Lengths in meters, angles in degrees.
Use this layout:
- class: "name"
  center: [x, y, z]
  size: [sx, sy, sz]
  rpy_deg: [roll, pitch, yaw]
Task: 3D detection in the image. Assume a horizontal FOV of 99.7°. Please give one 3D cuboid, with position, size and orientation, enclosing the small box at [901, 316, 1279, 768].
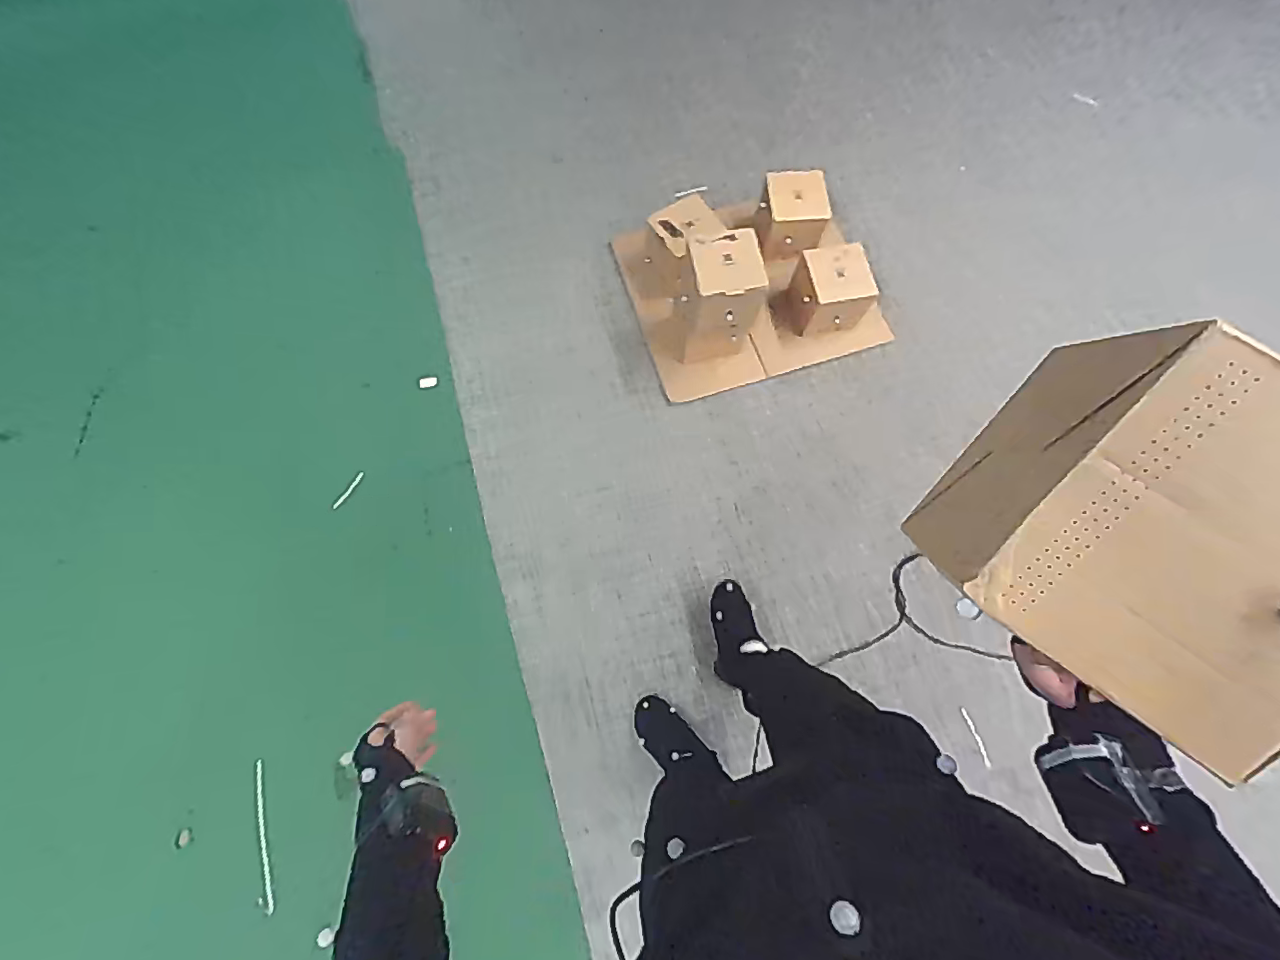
- class: "small box"
  center: [0.305, 0.022, 0.340]
  size: [0.176, 0.168, 0.179]
  rpy_deg: [38, 105, 8]

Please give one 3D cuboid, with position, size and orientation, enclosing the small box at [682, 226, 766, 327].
- class: "small box"
  center: [0.204, -0.500, 1.356]
  size: [0.168, 0.176, 0.179]
  rpy_deg: [-8, 73, -3]

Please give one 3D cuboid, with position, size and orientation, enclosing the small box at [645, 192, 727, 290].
- class: "small box"
  center: [0.130, -0.694, 1.588]
  size: [0.179, 0.176, 0.168]
  rpy_deg: [-30, 75, -10]

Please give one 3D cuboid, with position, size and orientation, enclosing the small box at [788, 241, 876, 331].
- class: "small box"
  center: [0.537, -0.541, 1.534]
  size: [0.168, 0.176, 0.179]
  rpy_deg: [-10, 73, -3]
